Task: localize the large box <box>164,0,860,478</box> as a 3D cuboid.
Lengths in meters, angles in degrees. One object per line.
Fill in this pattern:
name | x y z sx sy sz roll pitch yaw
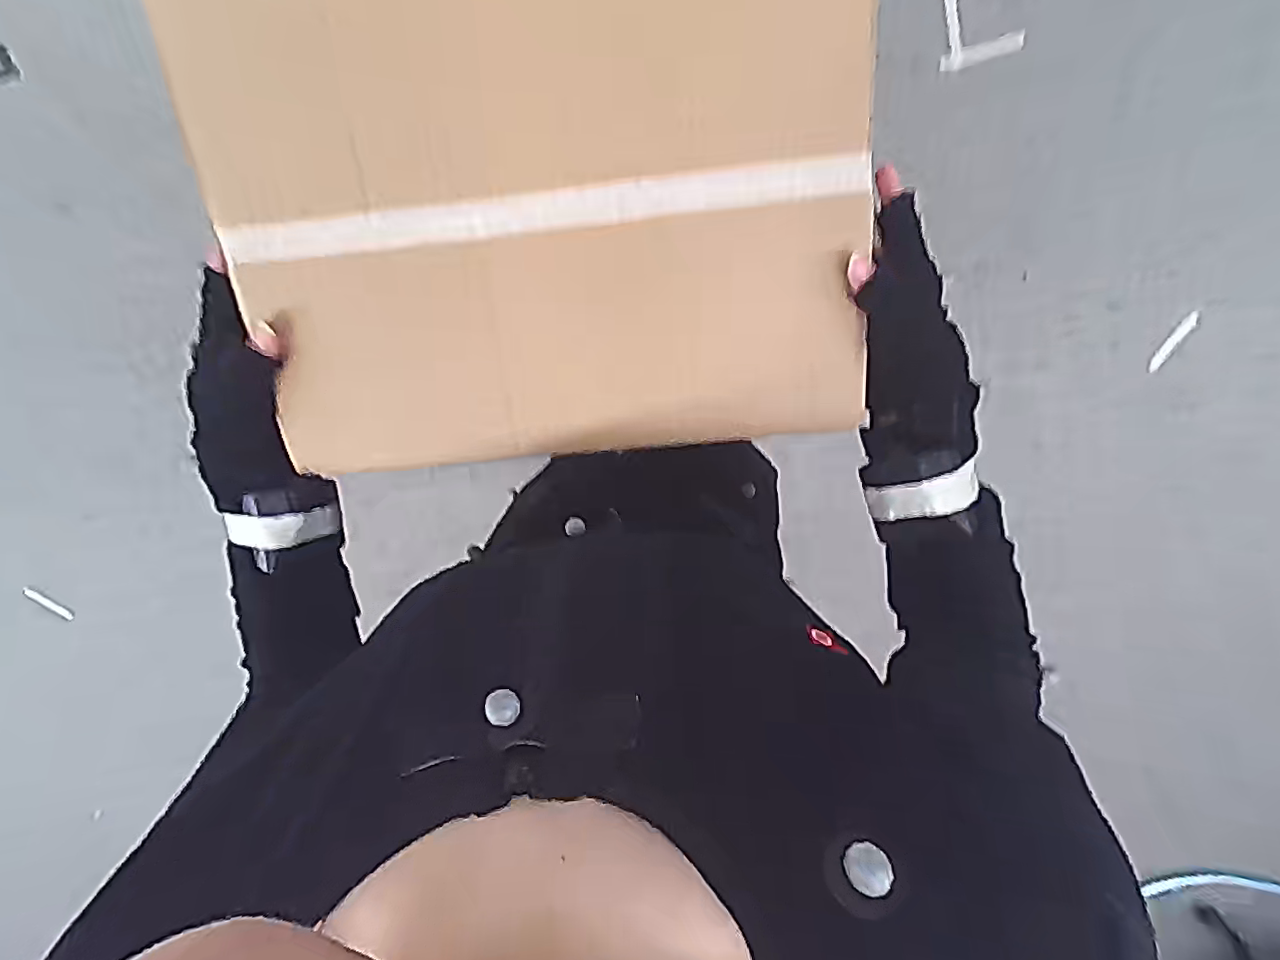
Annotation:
large box | -0.058 -0.212 0.485 0.408 0.320 0.320 -5 108 3
